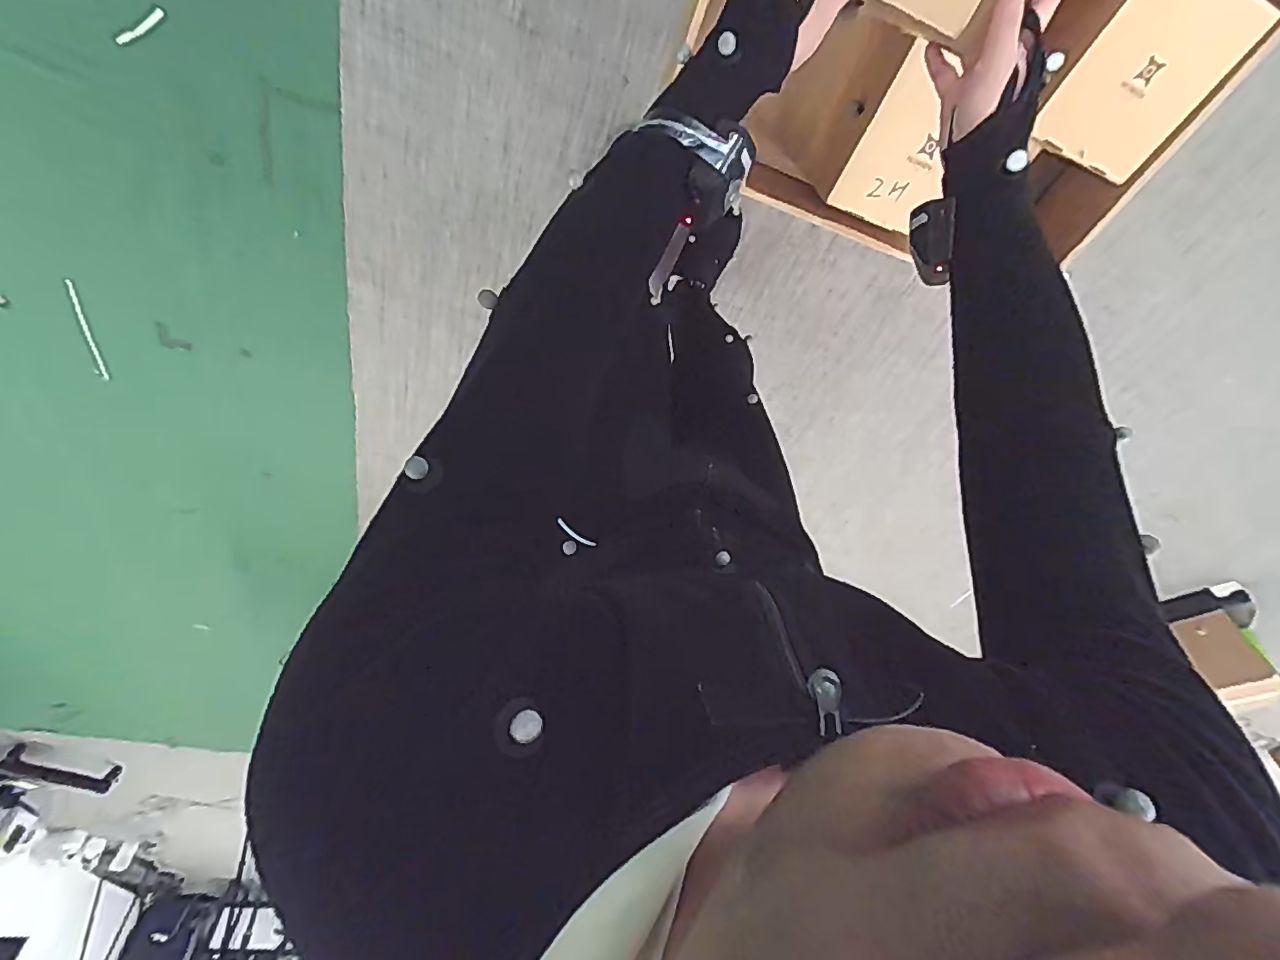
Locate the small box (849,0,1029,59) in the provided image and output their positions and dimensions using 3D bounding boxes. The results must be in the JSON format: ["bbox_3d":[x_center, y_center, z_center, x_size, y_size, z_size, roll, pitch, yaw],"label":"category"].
[{"bbox_3d":[0.234,-0.478,0.427,0.179,0.176,0.168,13,133,-16],"label":"small box"}]
